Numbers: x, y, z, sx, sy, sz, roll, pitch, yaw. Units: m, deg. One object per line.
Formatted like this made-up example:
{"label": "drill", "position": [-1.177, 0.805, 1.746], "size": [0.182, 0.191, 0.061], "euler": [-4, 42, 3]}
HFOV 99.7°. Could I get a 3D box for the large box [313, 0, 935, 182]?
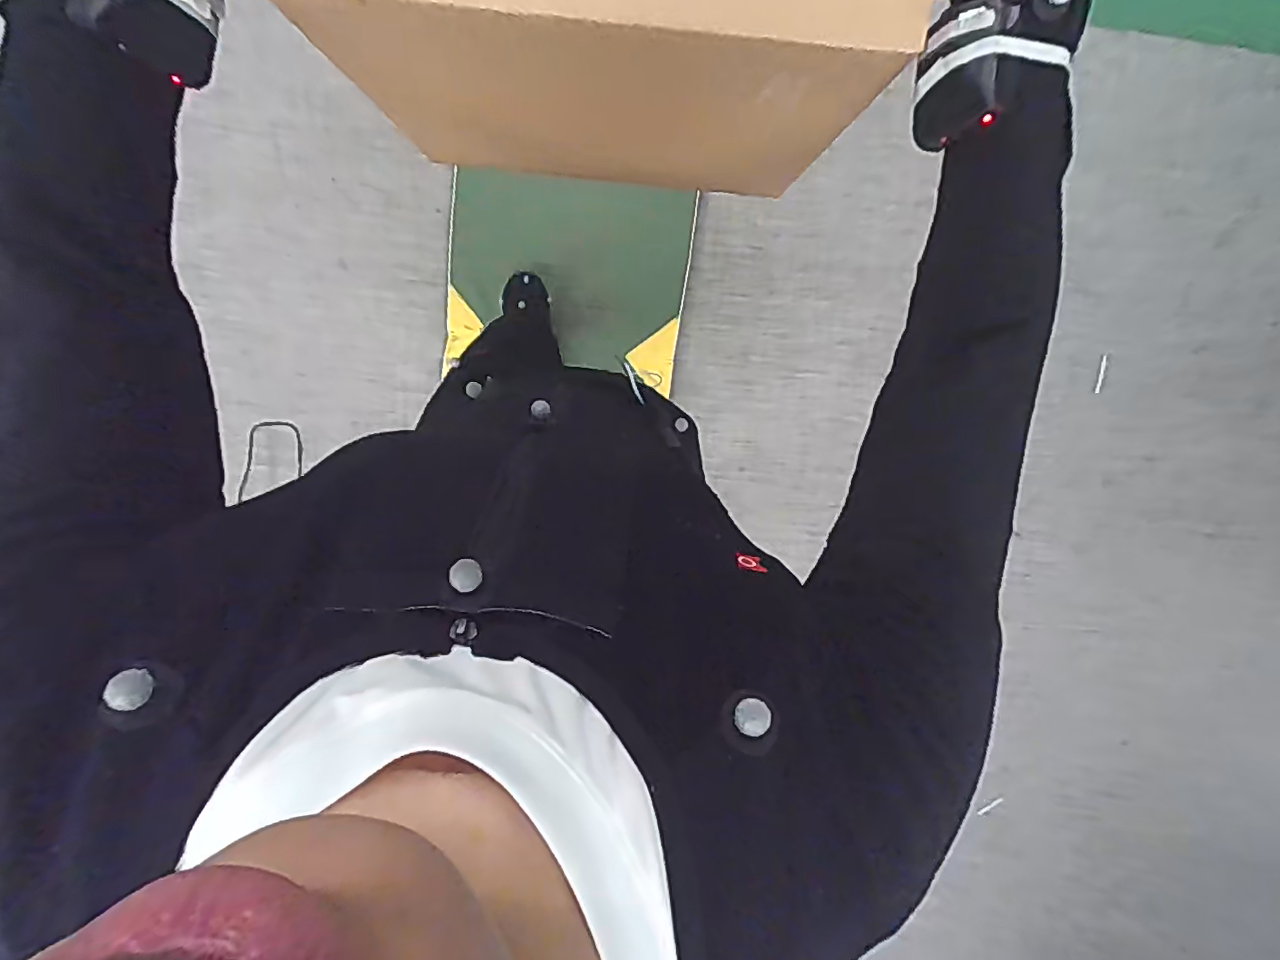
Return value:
{"label": "large box", "position": [-0.013, -0.469, 0.443], "size": [0.408, 0.320, 0.320], "euler": [3, 104, -4]}
